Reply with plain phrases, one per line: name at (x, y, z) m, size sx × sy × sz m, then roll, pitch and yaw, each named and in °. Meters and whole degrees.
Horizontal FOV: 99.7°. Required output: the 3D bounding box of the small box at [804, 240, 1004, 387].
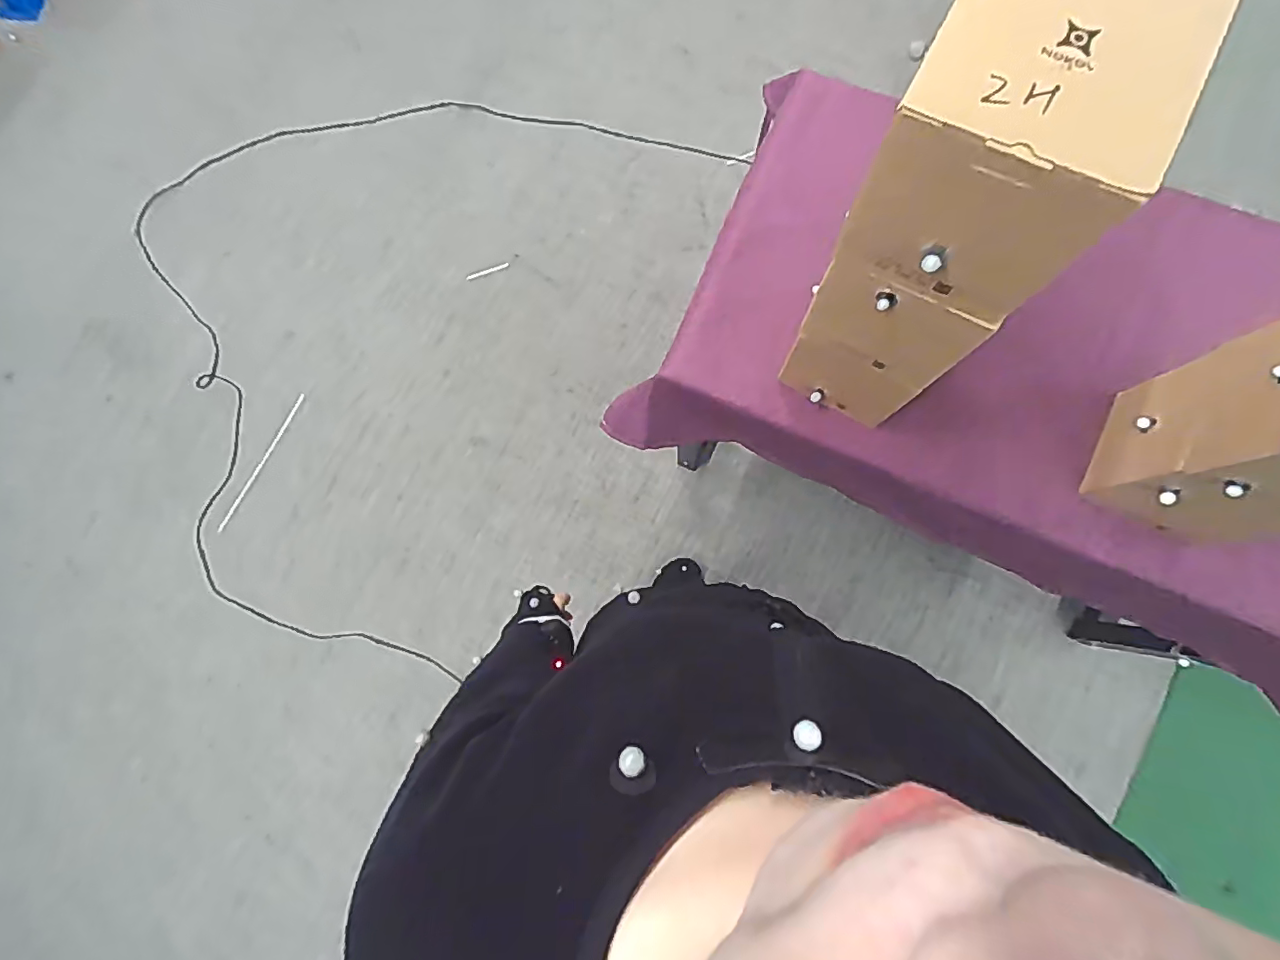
small box at (0.302, -0.235, 0.597) m, size 0.168 × 0.176 × 0.179 m, roll 29°, pitch 82°, yaw 11°

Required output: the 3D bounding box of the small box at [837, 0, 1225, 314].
small box at (0.284, -0.272, 0.437) m, size 0.168 × 0.176 × 0.179 m, roll 28°, pitch 83°, yaw 9°

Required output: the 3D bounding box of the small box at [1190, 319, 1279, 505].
small box at (0.714, -0.067, 0.533) m, size 0.168 × 0.176 × 0.179 m, roll 24°, pitch 81°, yaw 8°

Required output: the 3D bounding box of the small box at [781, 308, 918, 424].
small box at (0.315, -0.205, 0.758) m, size 0.168 × 0.176 × 0.179 m, roll 29°, pitch 84°, yaw 9°
